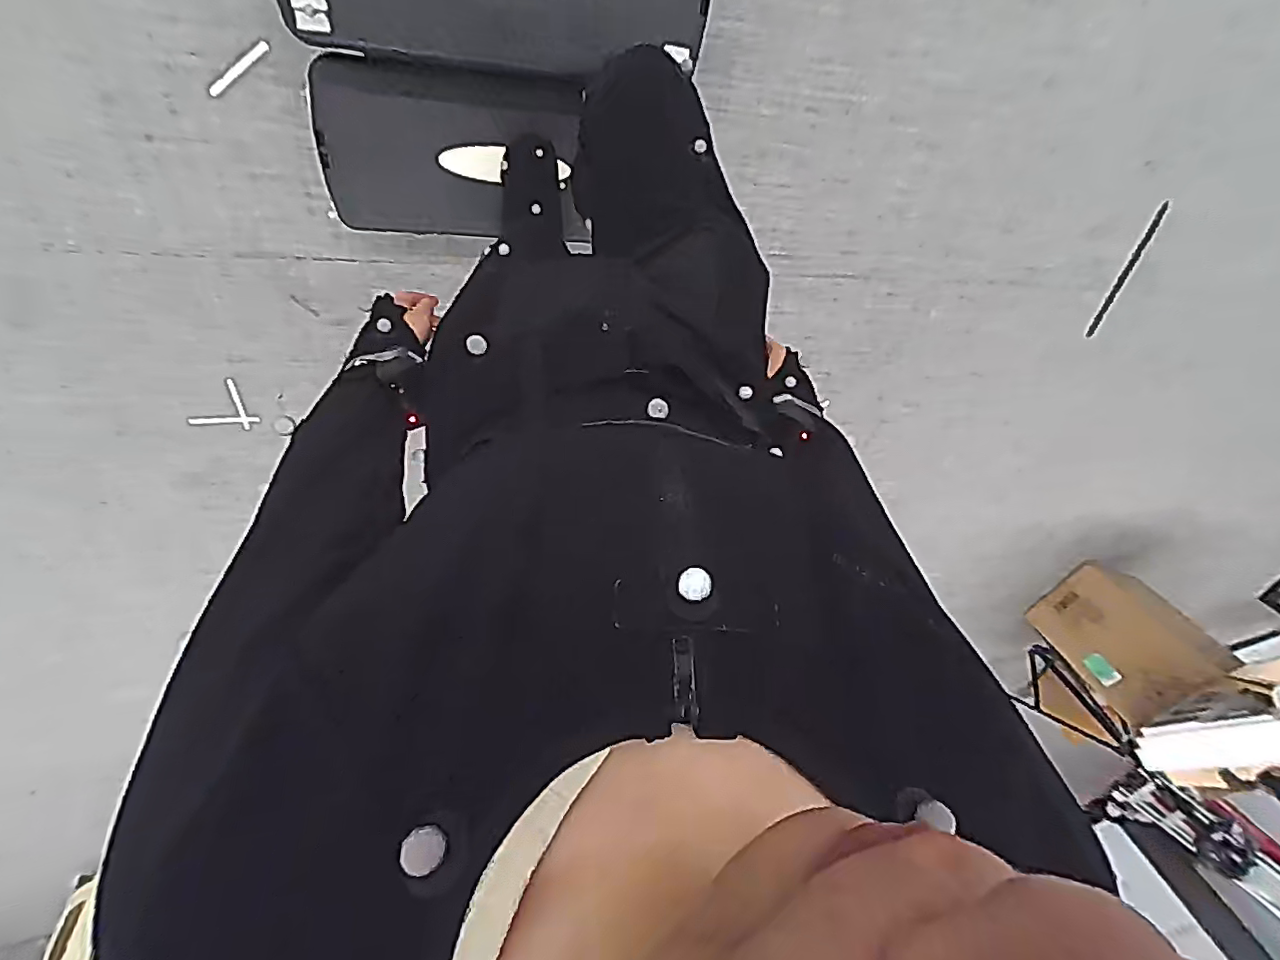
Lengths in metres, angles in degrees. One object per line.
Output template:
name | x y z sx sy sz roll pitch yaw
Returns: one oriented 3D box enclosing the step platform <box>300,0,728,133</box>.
step platform | -0.194 -0.809 0.908 0.684 0.204 0.286 1 125 -17
